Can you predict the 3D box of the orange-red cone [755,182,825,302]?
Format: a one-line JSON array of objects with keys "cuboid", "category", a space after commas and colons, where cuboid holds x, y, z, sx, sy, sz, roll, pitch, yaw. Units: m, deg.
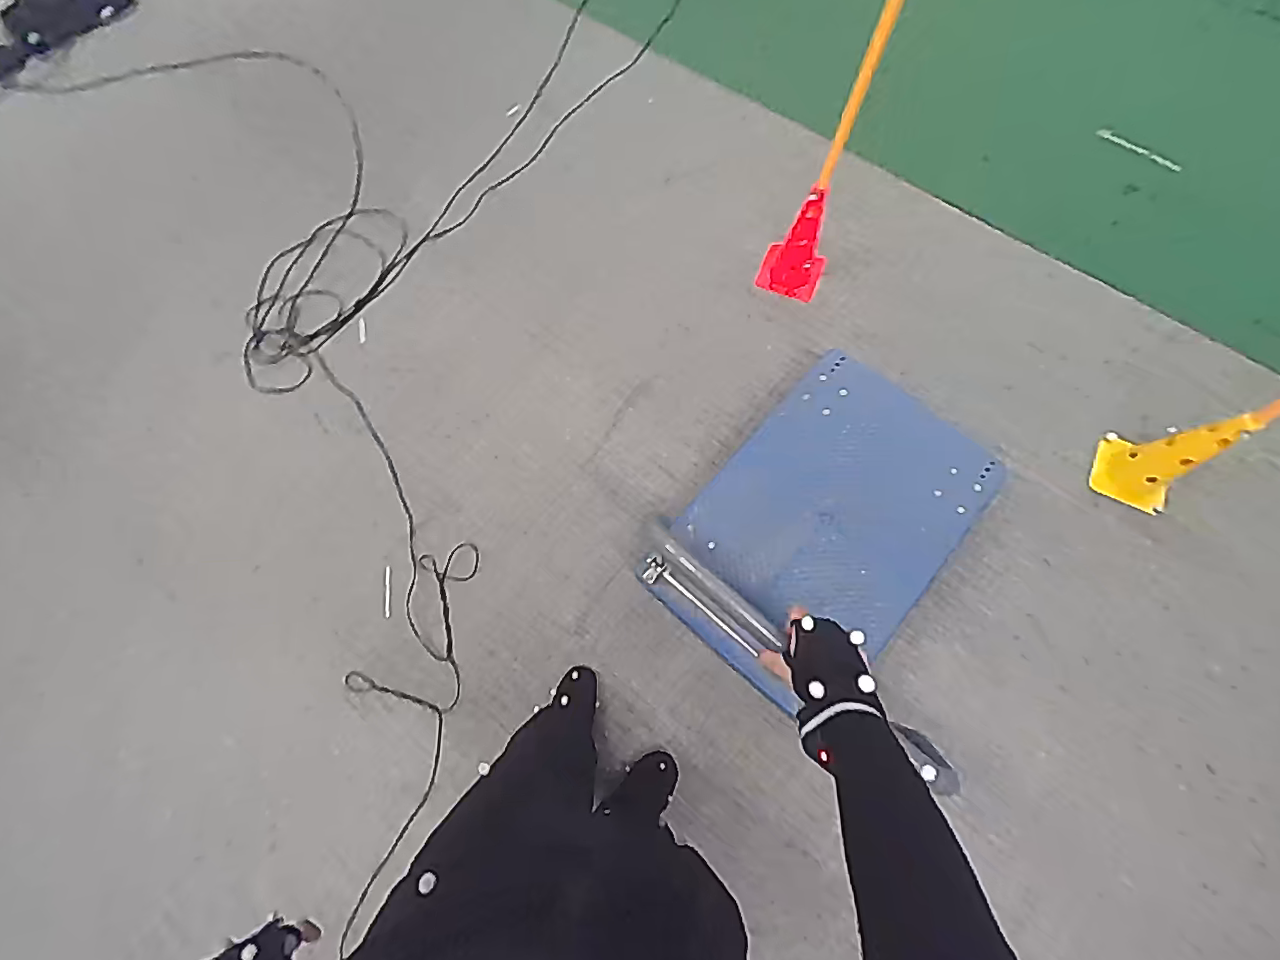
[{"cuboid": [0.505, -0.761, 1.680, 0.199, 0.360, 0.198, 22, 72, 10], "category": "orange-red cone"}]
